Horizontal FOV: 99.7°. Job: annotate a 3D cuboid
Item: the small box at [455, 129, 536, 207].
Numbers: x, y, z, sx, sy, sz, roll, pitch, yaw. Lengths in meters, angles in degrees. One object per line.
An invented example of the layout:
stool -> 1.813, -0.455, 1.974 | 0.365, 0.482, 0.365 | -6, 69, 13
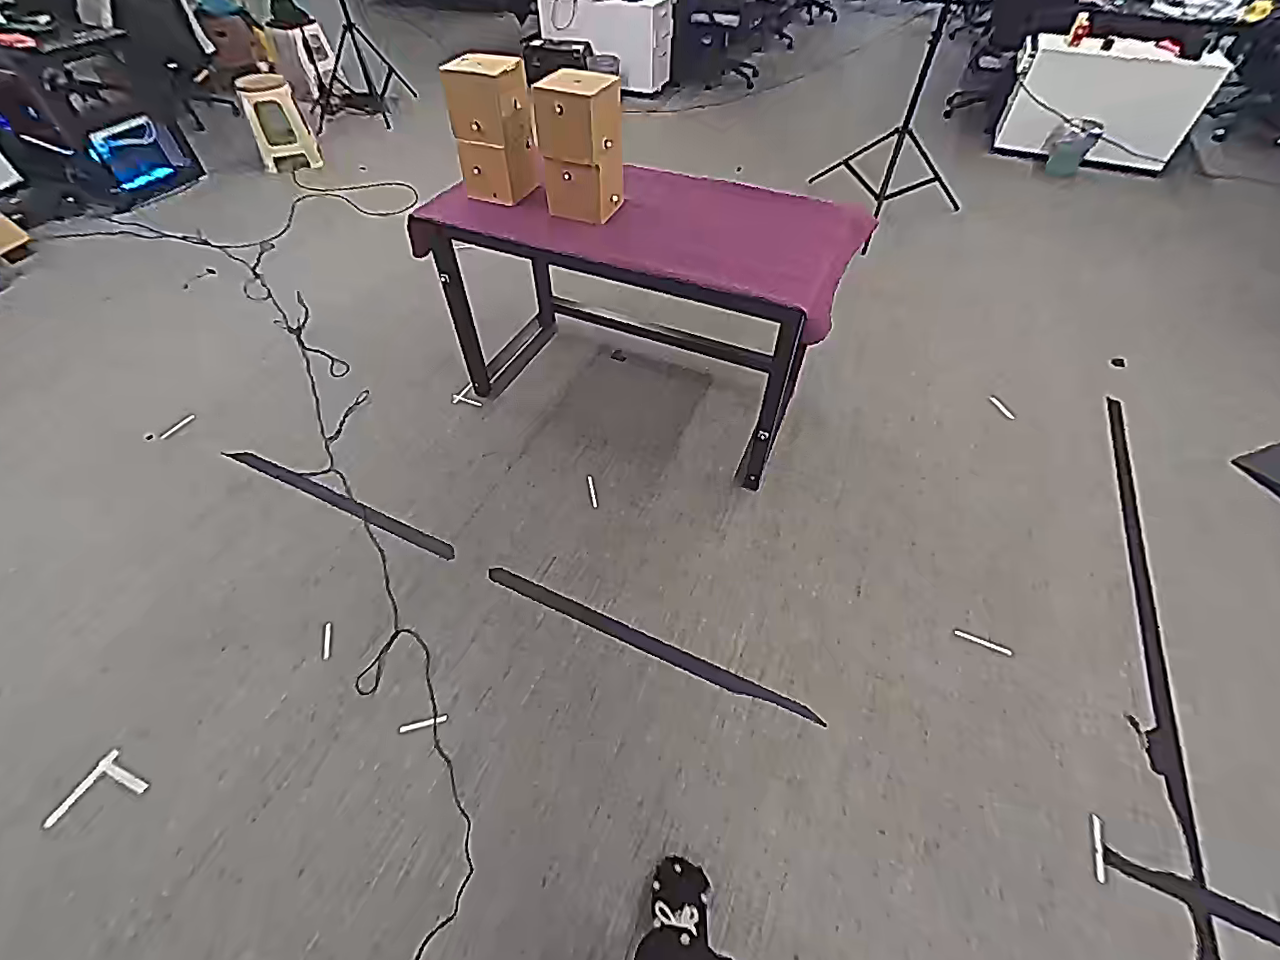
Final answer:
small box -> -0.432, -0.963, 1.656 | 0.168, 0.176, 0.179 | 16, 52, 13

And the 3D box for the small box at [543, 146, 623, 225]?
small box -> -0.161, -0.873, 1.583 | 0.179, 0.176, 0.168 | 18, 53, 13

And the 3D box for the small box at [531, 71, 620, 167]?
small box -> -0.166, -0.966, 1.450 | 0.179, 0.176, 0.168 | 21, 55, 14

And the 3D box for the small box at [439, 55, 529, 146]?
small box -> -0.433, -1.074, 1.535 | 0.179, 0.176, 0.168 | 15, 51, 11
